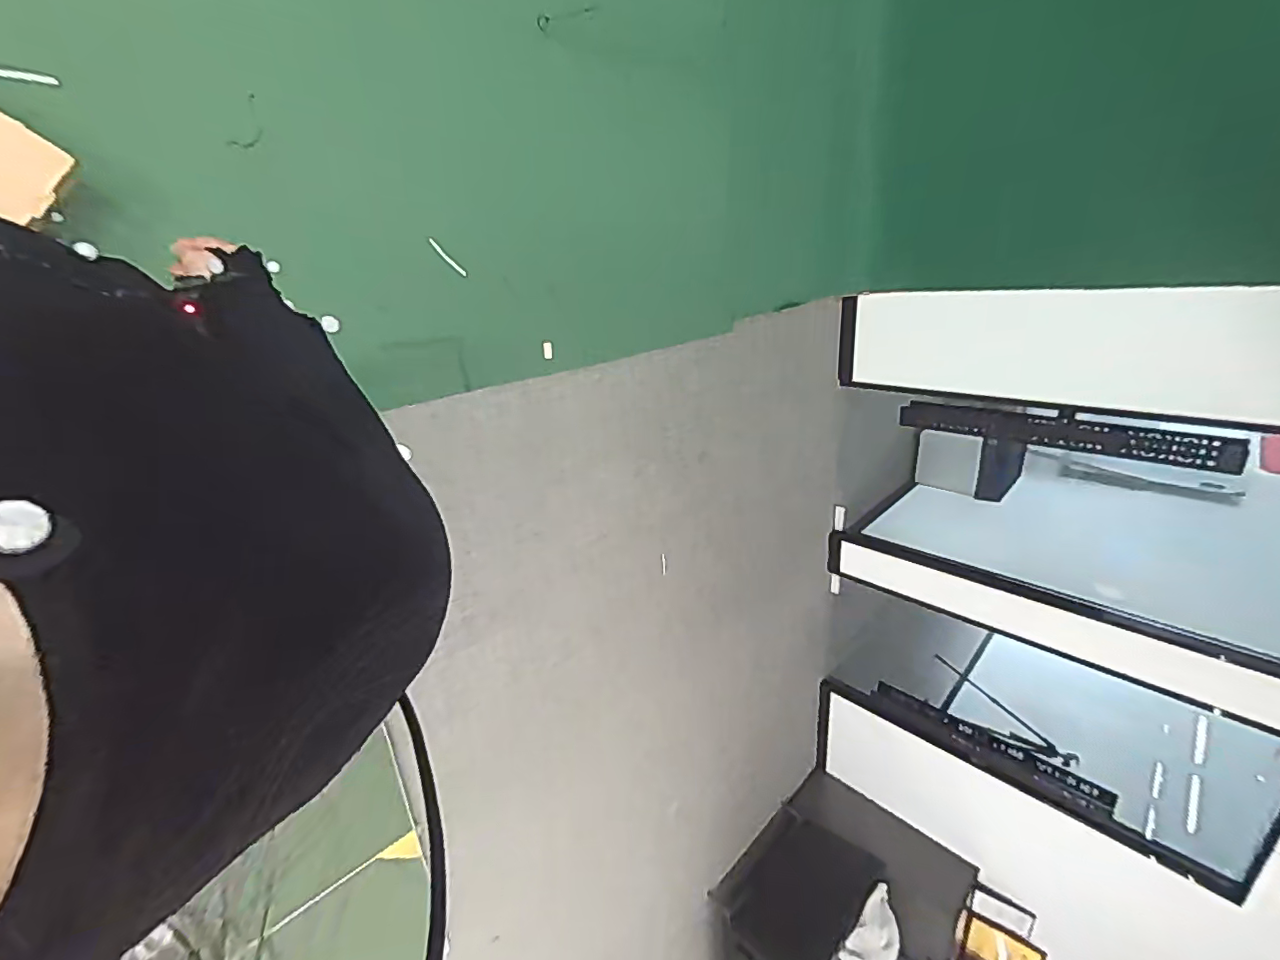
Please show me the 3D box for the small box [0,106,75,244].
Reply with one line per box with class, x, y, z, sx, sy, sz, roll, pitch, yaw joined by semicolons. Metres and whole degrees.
small box;-0.972;-0.464;0.776;0.179;0.176;0.168;36;77;-46
